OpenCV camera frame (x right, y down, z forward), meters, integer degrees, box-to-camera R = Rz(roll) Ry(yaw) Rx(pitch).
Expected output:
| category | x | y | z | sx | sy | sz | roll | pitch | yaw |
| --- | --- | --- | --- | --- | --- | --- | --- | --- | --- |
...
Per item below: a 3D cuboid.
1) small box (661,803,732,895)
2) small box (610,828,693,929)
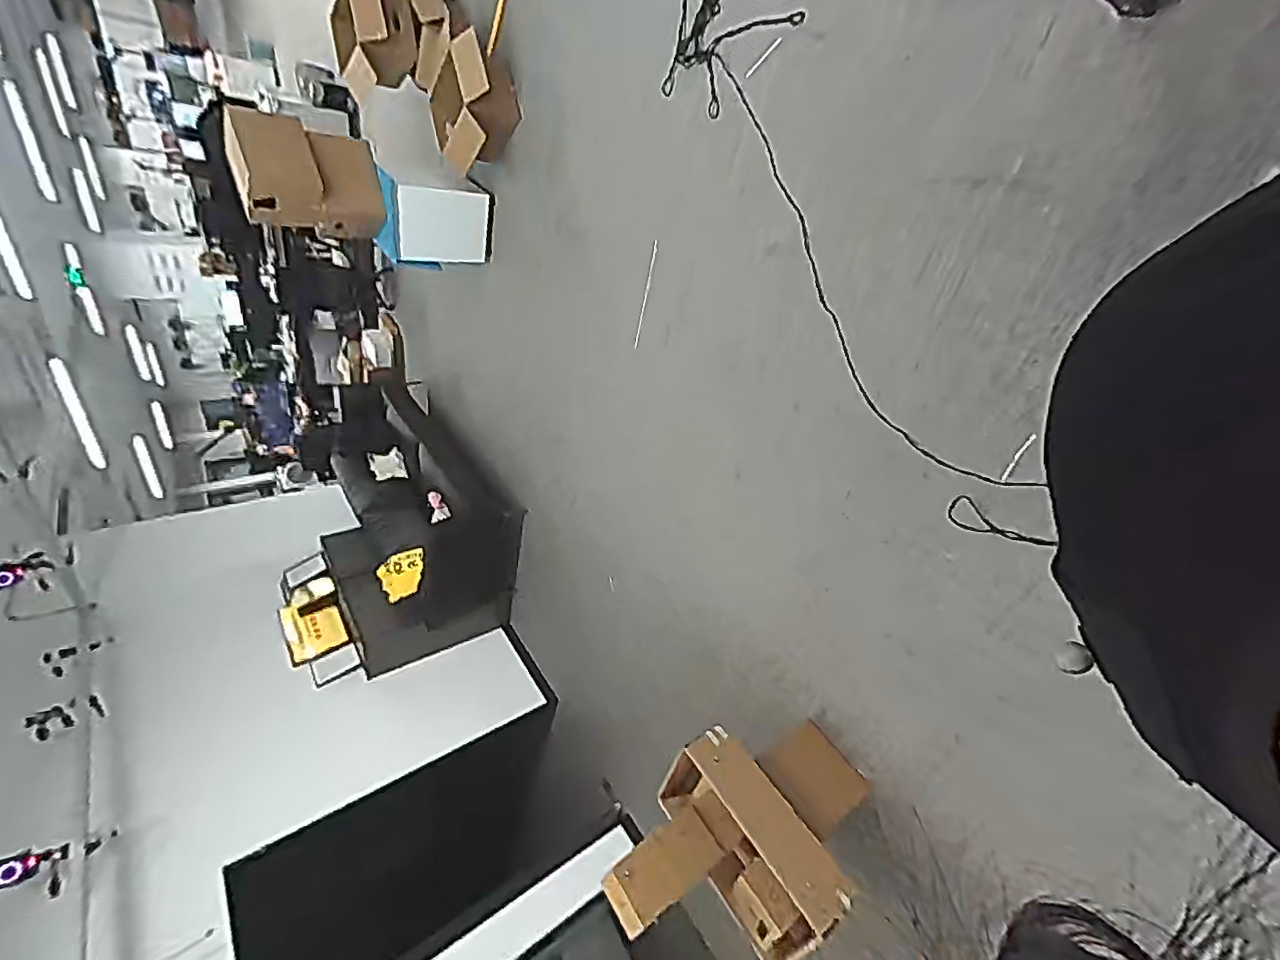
| category | x | y | z | sx | sy | sz | roll | pitch | yaw |
| --- | --- | --- | --- | --- | --- | --- | --- | --- | --- |
| small box | 0.164 | 1.193 | 1.764 | 0.179 | 0.176 | 0.168 | 47 | 137 | 31 |
| small box | 0.035 | 1.229 | 1.673 | 0.179 | 0.176 | 0.168 | 49 | 138 | 31 |
